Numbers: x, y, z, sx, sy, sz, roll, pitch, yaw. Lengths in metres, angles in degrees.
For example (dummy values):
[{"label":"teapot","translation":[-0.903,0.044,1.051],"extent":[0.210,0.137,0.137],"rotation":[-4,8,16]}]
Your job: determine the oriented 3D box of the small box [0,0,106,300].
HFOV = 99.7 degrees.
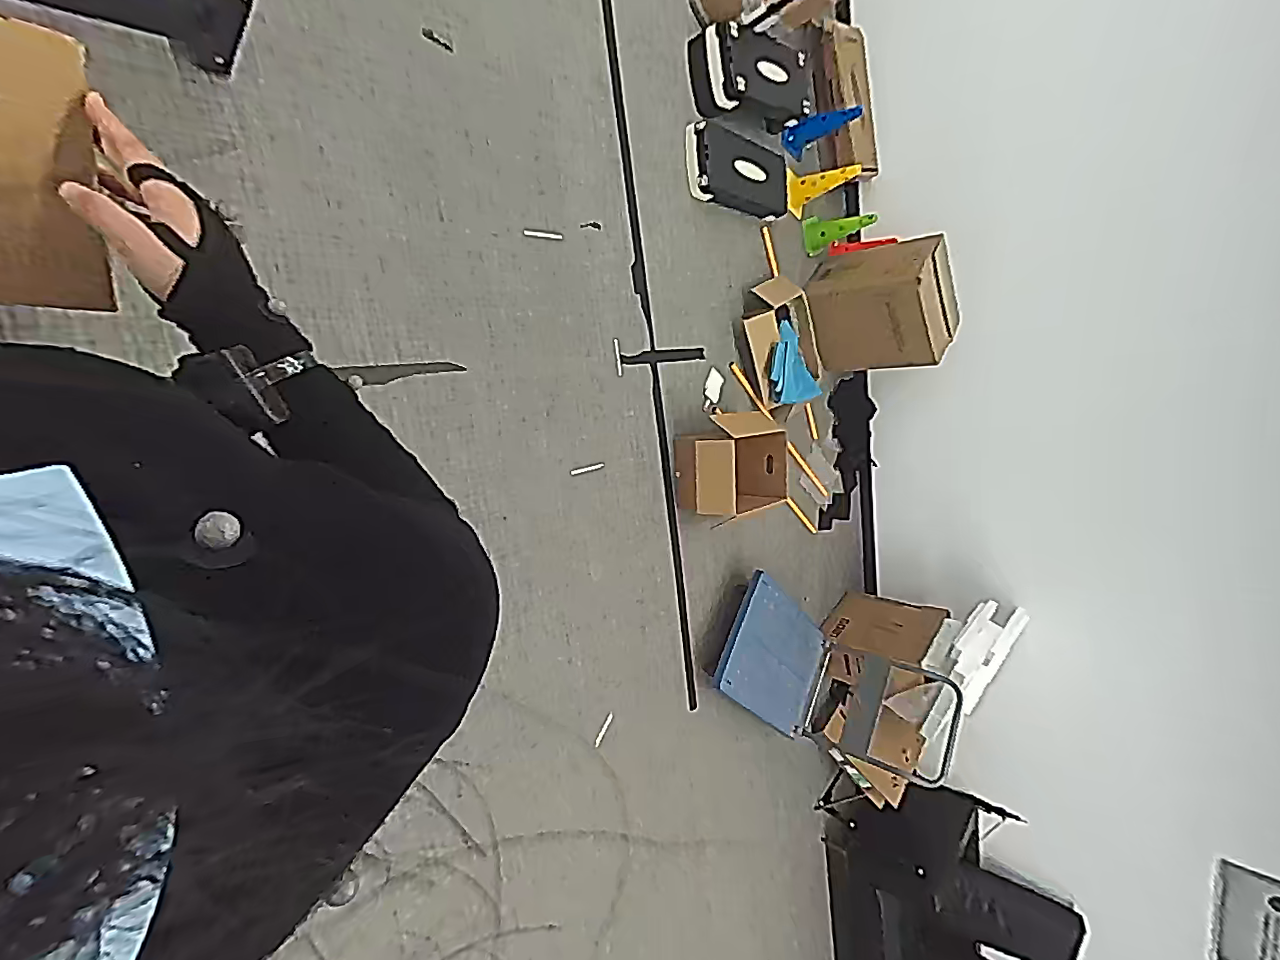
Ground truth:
[{"label":"small box","translation":[-0.490,-0.238,0.369],"extent":[0.168,0.176,0.179],"rotation":[-9,121,-45]}]
